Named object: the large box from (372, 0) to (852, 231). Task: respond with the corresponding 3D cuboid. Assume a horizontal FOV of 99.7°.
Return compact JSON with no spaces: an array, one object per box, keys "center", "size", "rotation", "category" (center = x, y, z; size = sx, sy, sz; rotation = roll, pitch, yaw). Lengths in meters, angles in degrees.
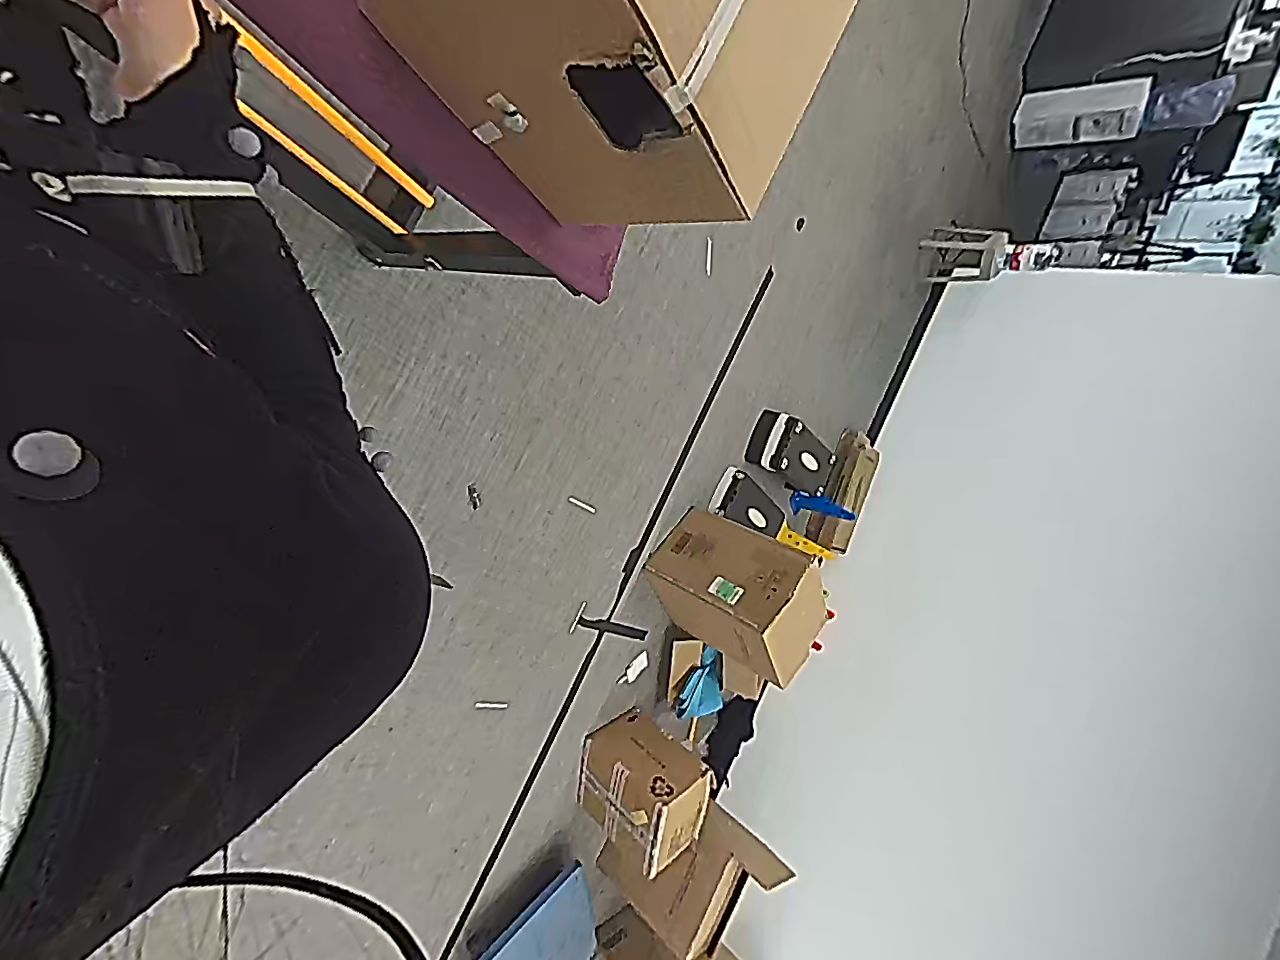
[{"center":[0.004,-0.533,0.562],"size":[0.320,0.320,0.408],"rotation":[32,80,-51],"category":"large box"}]
